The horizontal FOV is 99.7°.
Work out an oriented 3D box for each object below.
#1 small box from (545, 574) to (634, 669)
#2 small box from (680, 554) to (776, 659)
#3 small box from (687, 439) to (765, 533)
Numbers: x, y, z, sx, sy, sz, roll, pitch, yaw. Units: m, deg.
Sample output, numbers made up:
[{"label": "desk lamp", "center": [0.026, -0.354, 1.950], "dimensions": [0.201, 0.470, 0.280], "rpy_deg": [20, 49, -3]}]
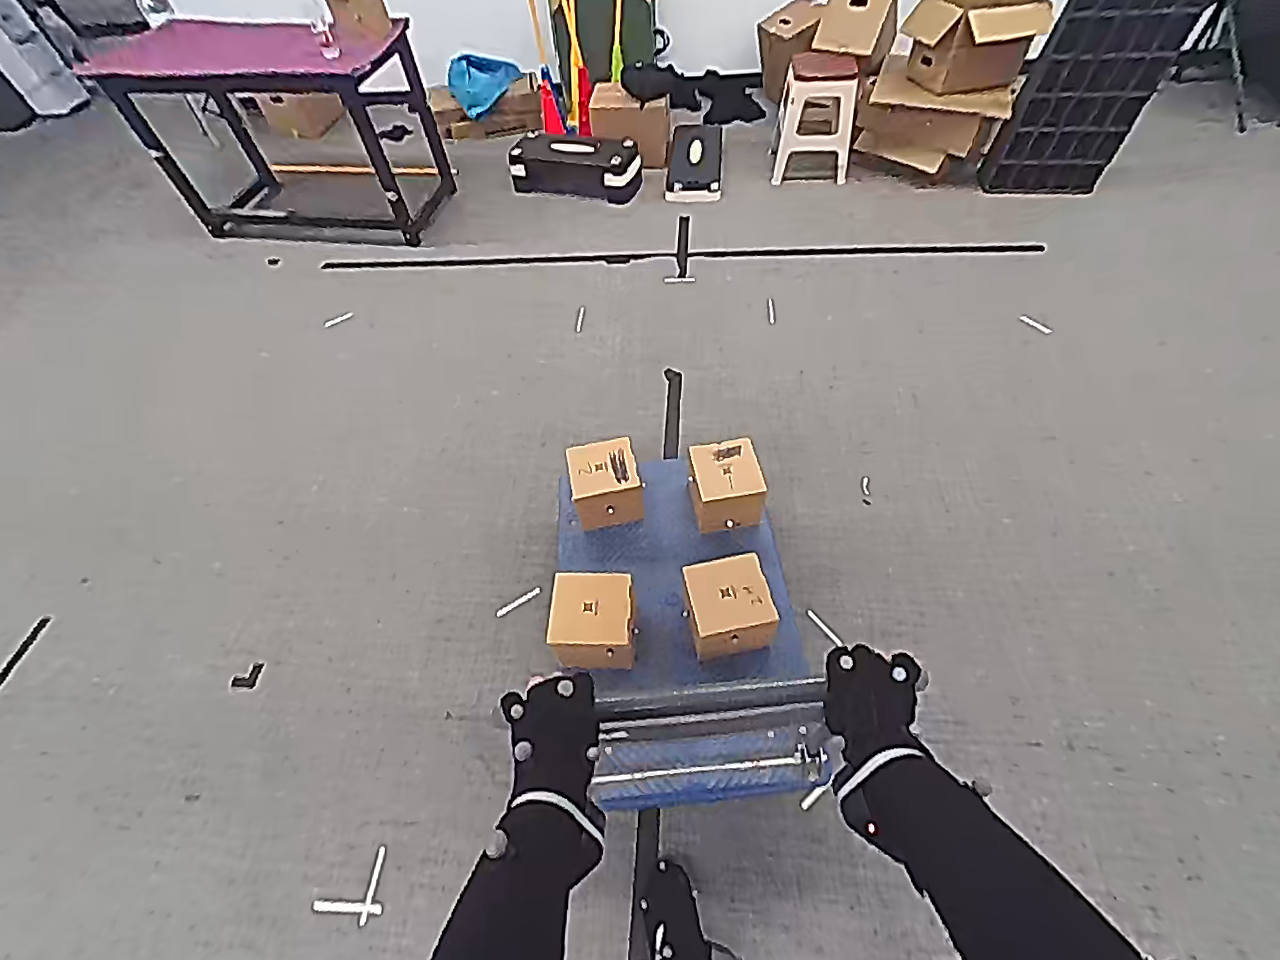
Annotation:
[{"label": "small box", "center": [-0.108, 0.327, 1.240], "dimensions": [0.179, 0.176, 0.168], "rpy_deg": [0, 54, 3]}, {"label": "small box", "center": [0.195, 0.294, 1.238], "dimensions": [0.179, 0.176, 0.168], "rpy_deg": [-11, 55, -3]}, {"label": "small box", "center": [0.219, 0.019, 1.431], "dimensions": [0.168, 0.176, 0.179], "rpy_deg": [-9, 56, -2]}]
